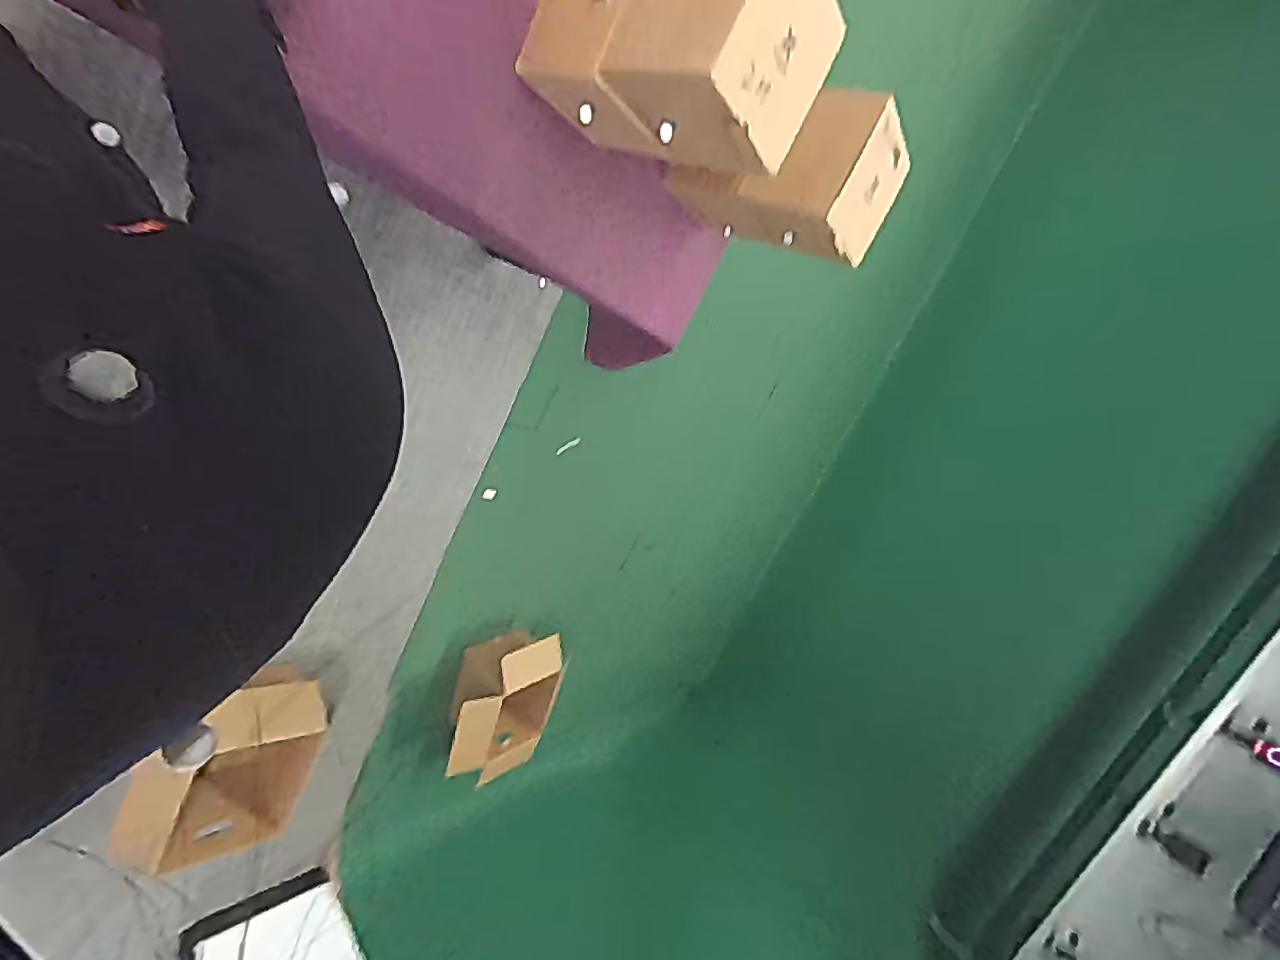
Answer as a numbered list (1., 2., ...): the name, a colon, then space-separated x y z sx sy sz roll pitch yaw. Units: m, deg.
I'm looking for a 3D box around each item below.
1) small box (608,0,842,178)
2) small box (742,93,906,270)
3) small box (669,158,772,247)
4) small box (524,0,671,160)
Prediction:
1. small box: 0.093 -0.484 0.611 0.168 0.176 0.179 15 105 -54
2. small box: 0.284 -0.471 0.857 0.168 0.176 0.179 14 108 -55
3. small box: 0.176 -0.548 0.952 0.168 0.176 0.179 15 106 -55
4. small box: -0.025 -0.556 0.702 0.168 0.176 0.179 10 109 -54
